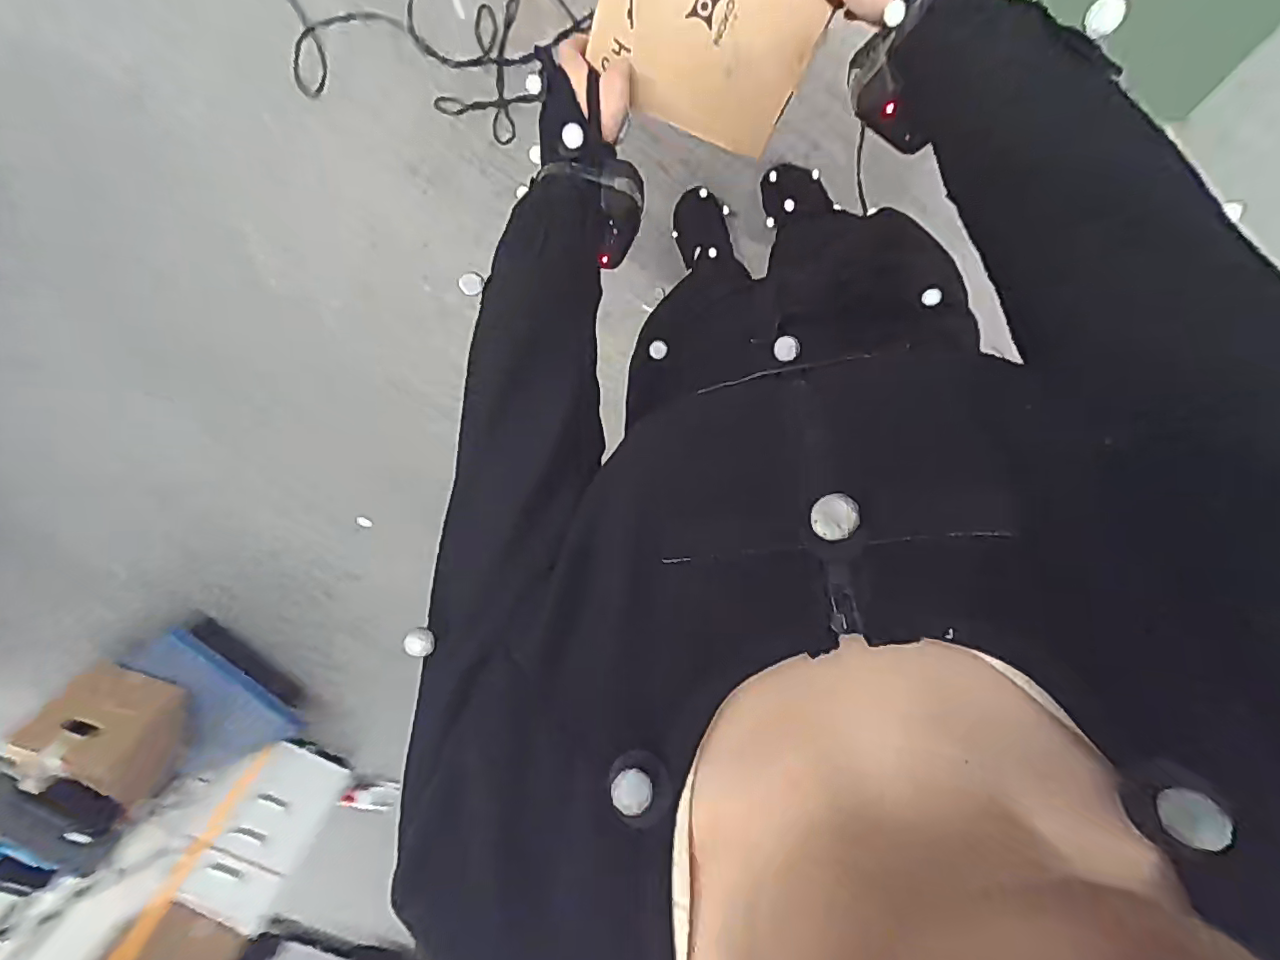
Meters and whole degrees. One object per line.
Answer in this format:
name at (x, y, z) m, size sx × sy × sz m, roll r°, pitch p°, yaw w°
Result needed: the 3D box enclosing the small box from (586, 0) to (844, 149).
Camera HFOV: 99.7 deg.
small box at (0.066, -0.434, 0.464) m, size 0.179 × 0.176 × 0.168 m, roll 15°, pitch 140°, yaw -16°
